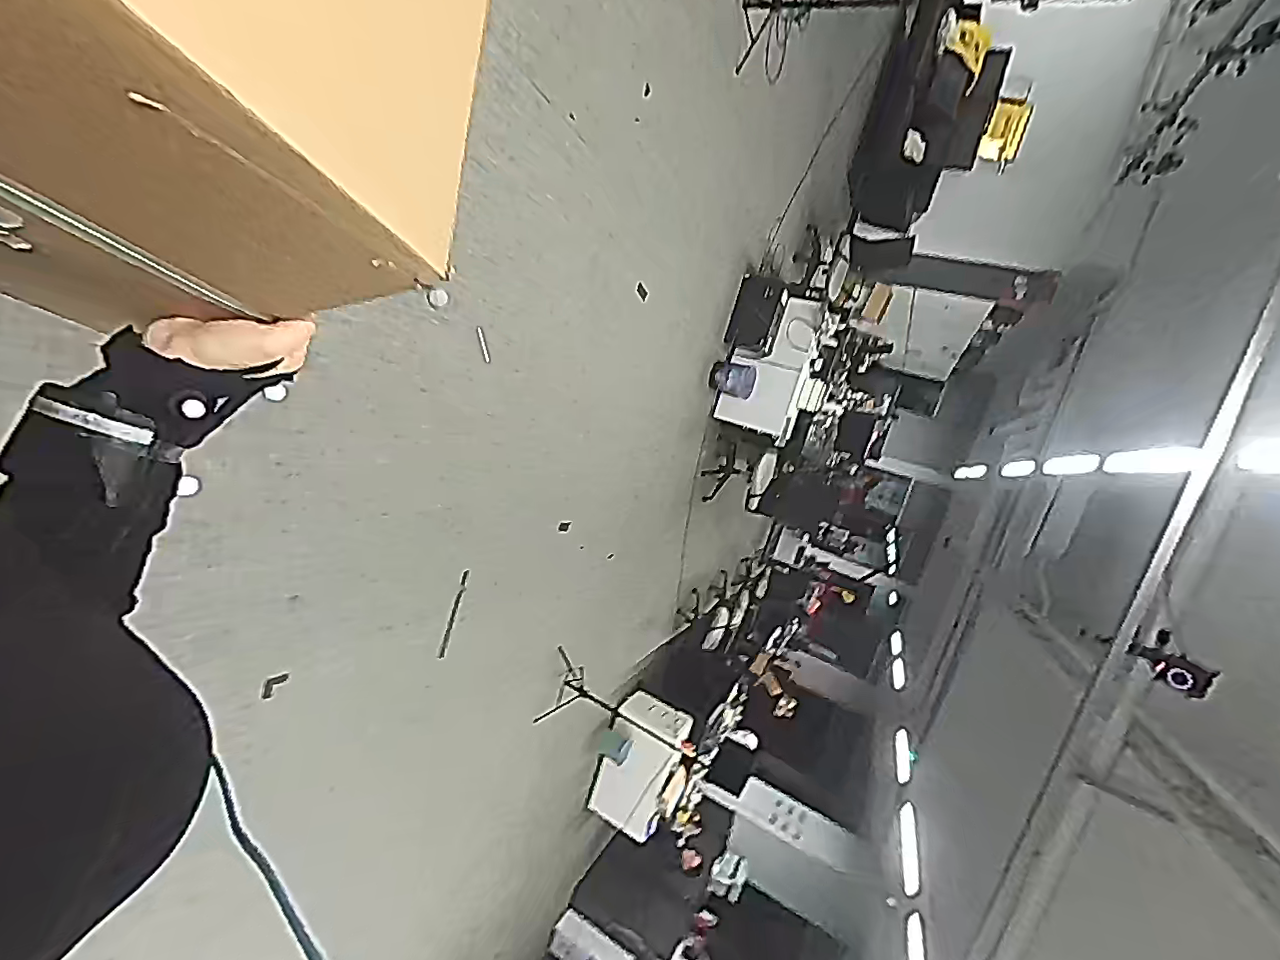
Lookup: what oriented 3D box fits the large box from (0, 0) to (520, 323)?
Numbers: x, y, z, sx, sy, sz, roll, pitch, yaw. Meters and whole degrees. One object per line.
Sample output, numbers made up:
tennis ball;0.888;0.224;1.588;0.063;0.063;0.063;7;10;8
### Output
large box;-0.293;-0.322;0.232;0.408;0.320;0.320;32;59;-65
